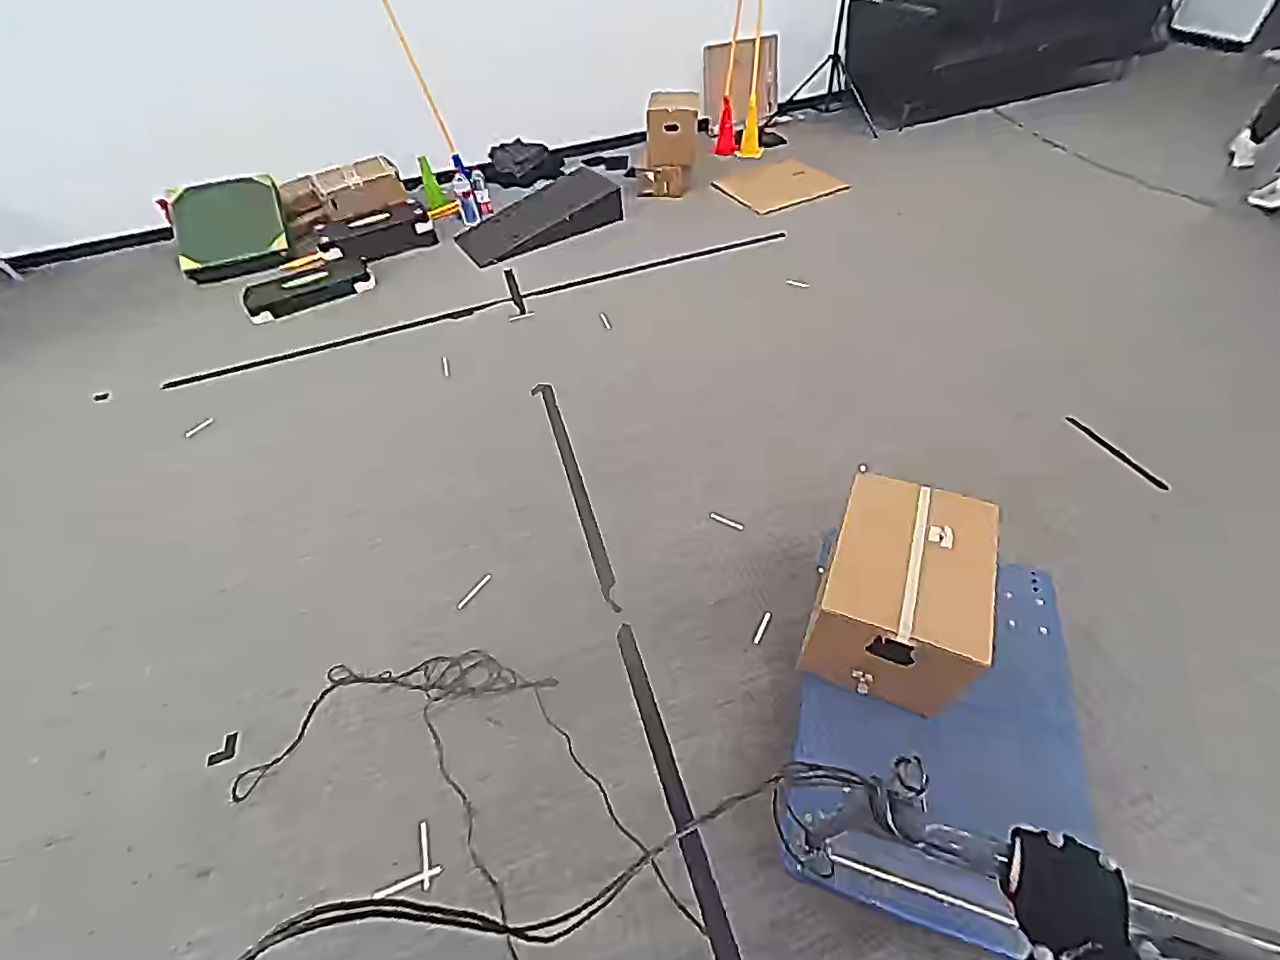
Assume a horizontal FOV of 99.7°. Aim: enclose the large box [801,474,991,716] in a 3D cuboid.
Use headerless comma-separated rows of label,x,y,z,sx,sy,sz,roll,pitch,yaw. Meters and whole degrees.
large box,0.587,0.261,1.263,0.320,0.320,0.408,17,52,18
